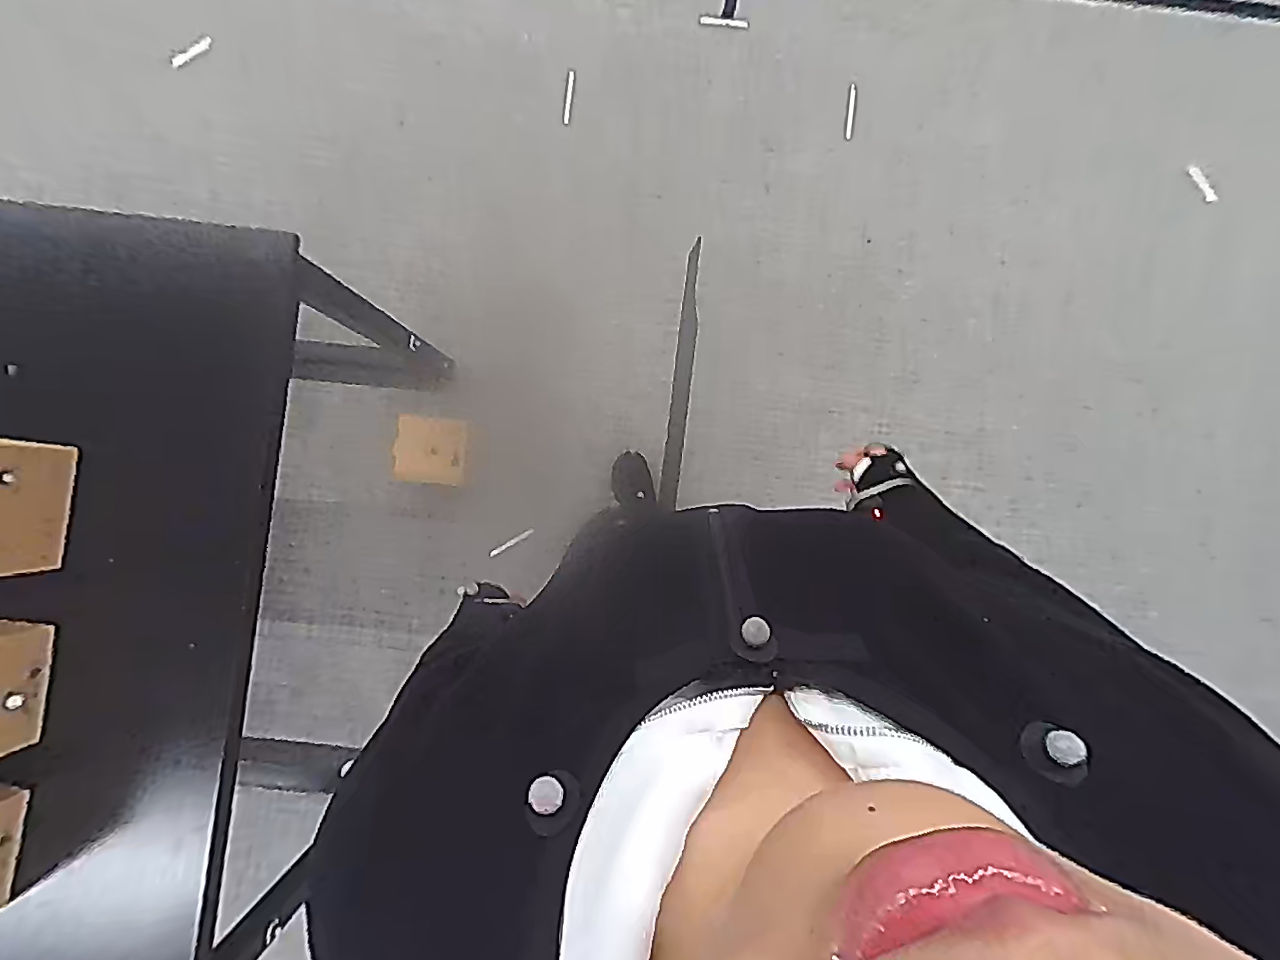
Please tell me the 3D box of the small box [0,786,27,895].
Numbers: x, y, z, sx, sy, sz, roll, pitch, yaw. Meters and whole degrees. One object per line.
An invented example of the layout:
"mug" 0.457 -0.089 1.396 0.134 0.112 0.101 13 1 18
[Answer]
"small box" -0.952 0.498 0.678 0.179 0.176 0.168 10 87 1

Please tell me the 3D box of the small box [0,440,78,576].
"small box" -0.894 0.029 0.698 0.168 0.176 0.179 7 89 2

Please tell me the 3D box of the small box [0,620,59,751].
"small box" -0.922 0.276 0.687 0.179 0.176 0.168 6 88 0

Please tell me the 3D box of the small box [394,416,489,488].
"small box" -0.517 -0.068 1.426 0.179 0.176 0.168 6 89 1
